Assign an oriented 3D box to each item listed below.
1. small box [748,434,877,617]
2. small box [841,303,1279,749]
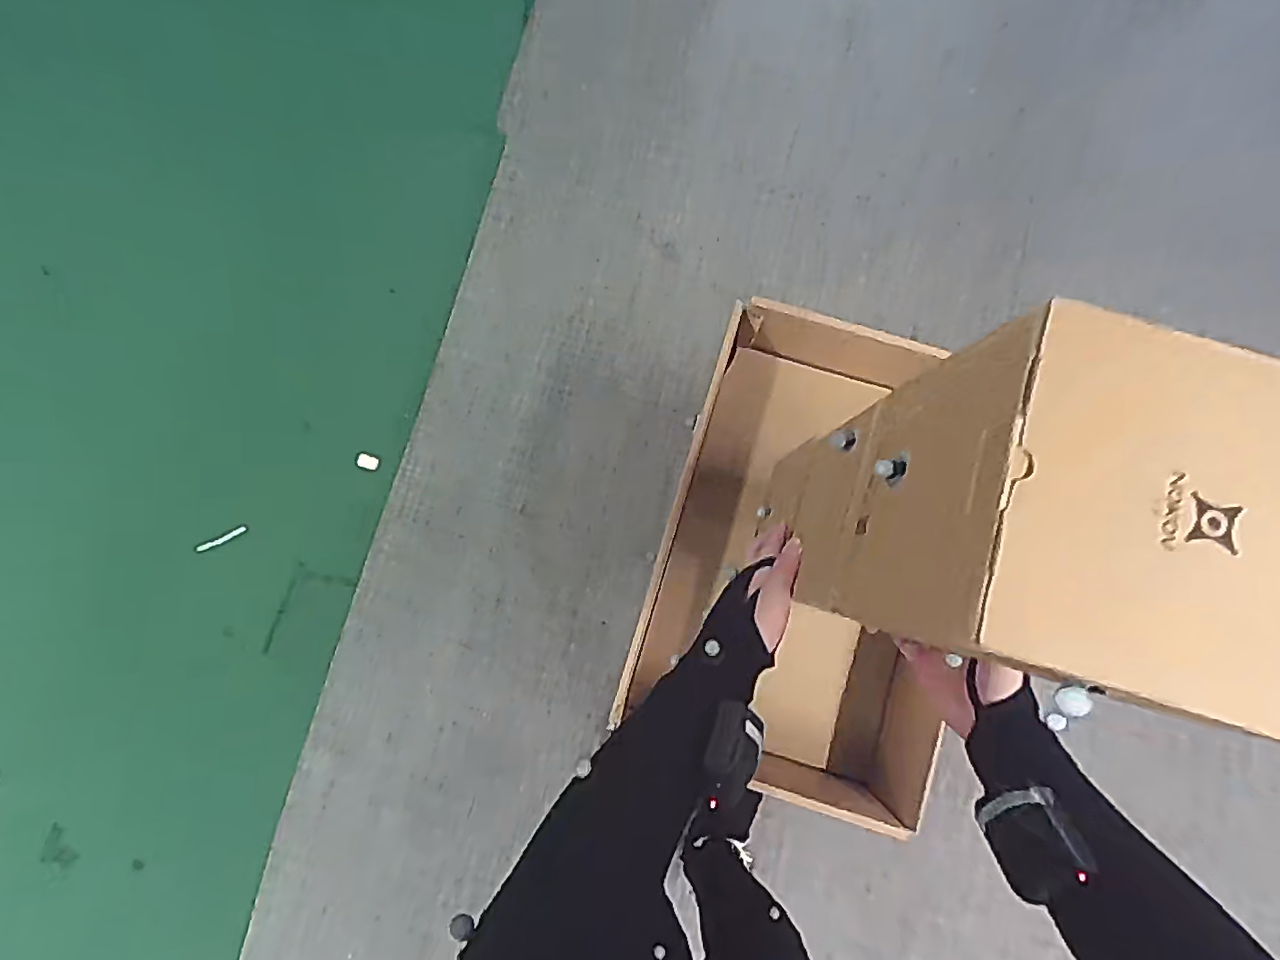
[{"bbox_3d":[0.247,0.064,0.639,0.179,0.176,0.168,19,81,3],"label":"small box"},{"bbox_3d":[0.248,0.030,0.315,0.179,0.176,0.168,17,83,2],"label":"small box"}]
